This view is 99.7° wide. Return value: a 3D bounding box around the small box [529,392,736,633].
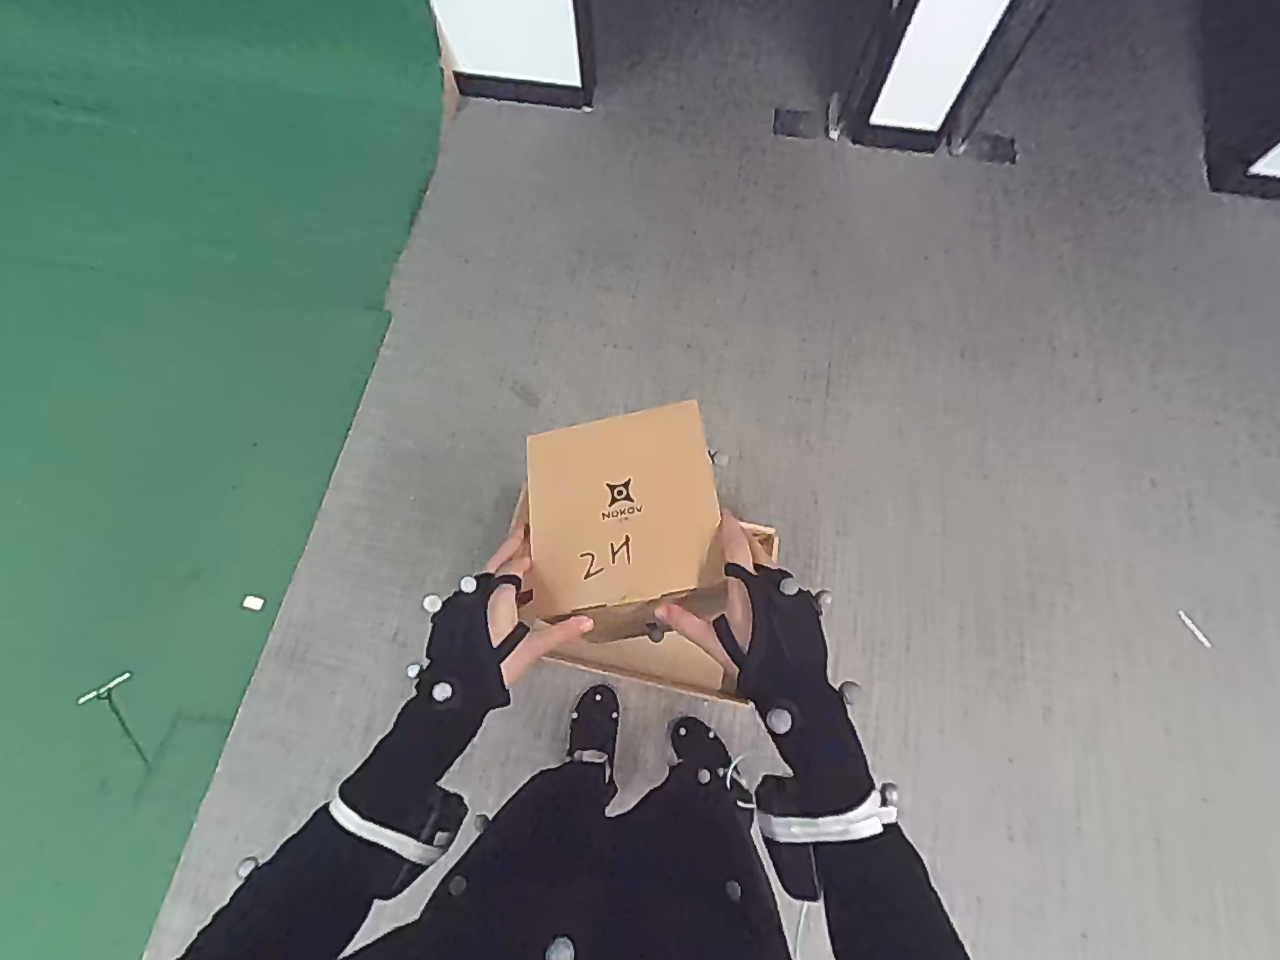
[{"bbox_3d":[-0.002,0.043,0.540,0.168,0.176,0.179,-12,65,8],"label":"small box"}]
